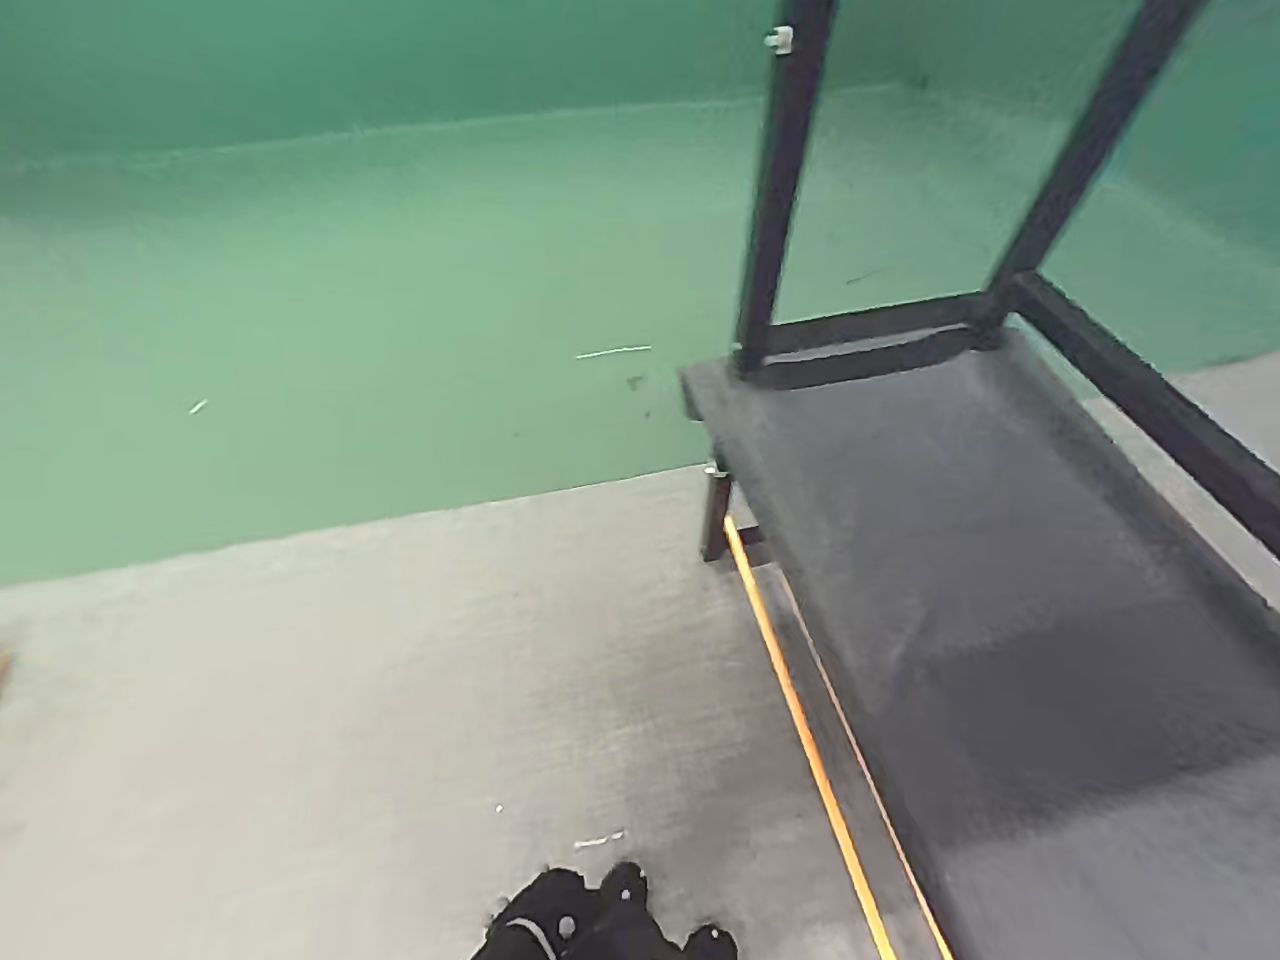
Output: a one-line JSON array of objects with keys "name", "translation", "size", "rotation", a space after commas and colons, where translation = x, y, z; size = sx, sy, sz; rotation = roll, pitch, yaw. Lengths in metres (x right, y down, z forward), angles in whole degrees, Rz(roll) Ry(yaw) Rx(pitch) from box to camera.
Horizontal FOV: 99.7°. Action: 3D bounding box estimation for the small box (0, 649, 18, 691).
[{"name": "small box", "translation": [-1.790, 0.514, 1.384], "size": [0.179, 0.176, 0.168], "rotation": [-11, 52, -7]}]
